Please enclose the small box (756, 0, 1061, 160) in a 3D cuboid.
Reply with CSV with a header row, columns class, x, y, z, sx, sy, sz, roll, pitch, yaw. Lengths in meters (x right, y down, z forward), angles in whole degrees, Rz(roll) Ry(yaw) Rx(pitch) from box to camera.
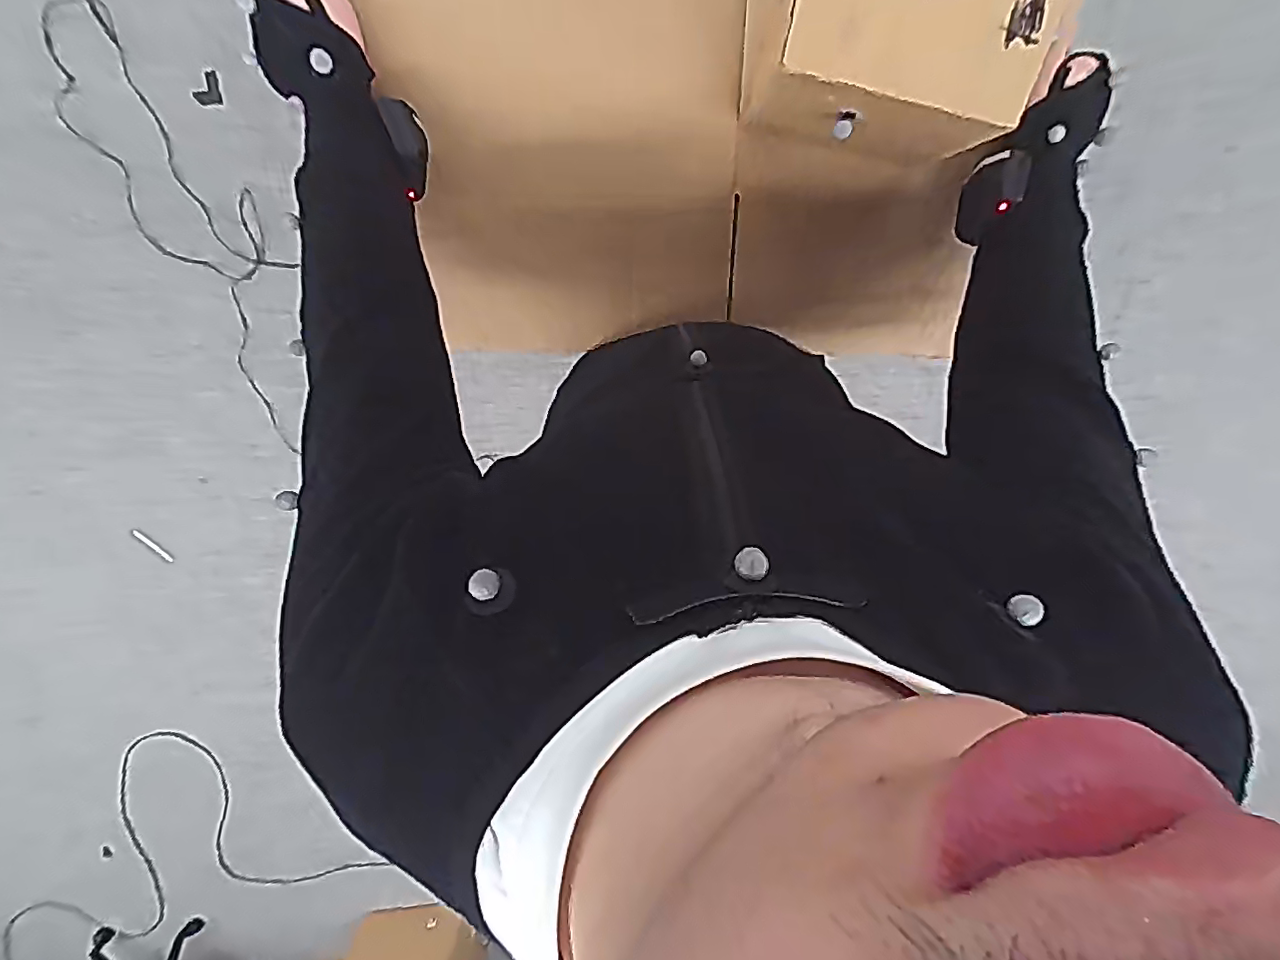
class,x,y,z,sx,sy,sz,roll,pitch,yaw
small box,0.203,-0.374,0.429,0.179,0.176,0.168,13,111,-1
